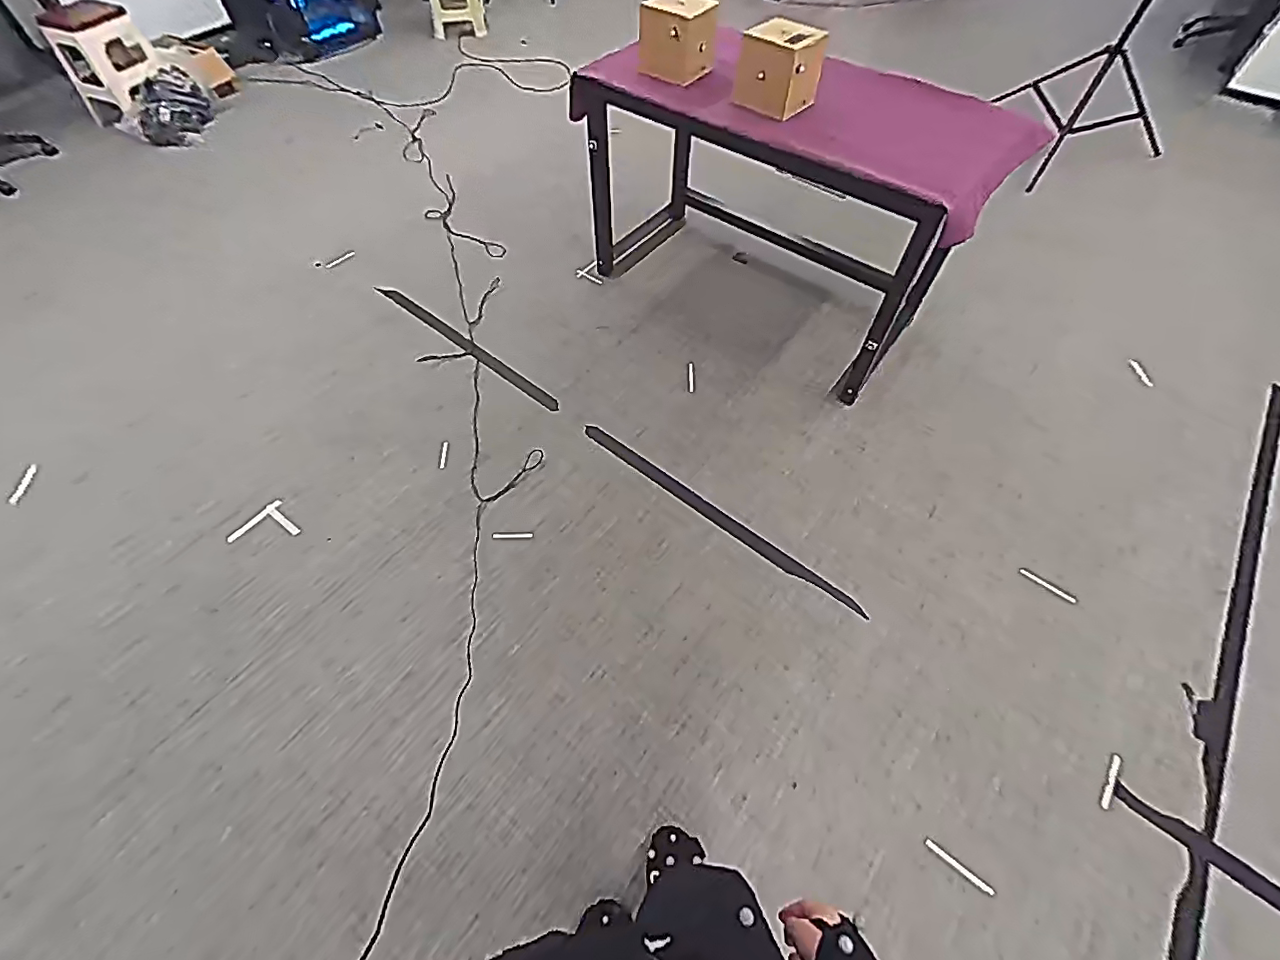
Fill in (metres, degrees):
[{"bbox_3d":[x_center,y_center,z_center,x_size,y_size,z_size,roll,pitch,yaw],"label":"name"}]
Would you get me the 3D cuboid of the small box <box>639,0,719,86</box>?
[{"bbox_3d":[0.113,-1.316,1.621,0.179,0.176,0.168,31,60,19],"label":"small box"}]
